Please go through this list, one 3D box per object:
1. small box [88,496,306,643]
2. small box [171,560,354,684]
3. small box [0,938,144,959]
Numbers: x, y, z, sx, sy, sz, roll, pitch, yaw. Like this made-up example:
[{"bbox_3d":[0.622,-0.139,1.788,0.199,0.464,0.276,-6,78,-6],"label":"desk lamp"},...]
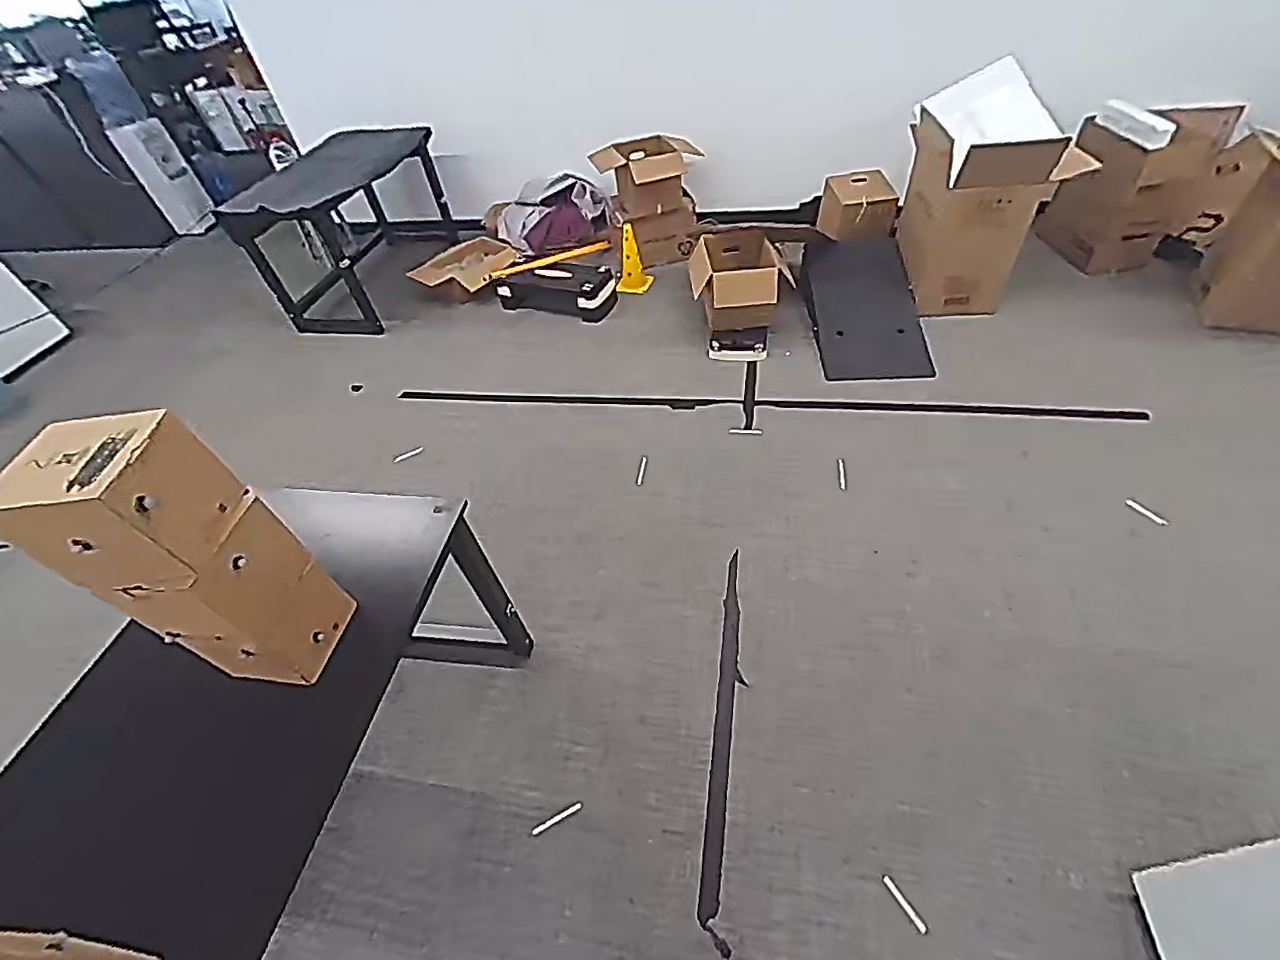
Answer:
[{"bbox_3d":[-0.678,0.144,0.860,0.168,0.176,0.179,0,47,7],"label":"small box"},{"bbox_3d":[-0.669,0.254,0.981,0.179,0.176,0.168,2,48,10],"label":"small box"},{"bbox_3d":[-0.748,0.650,0.627,0.179,0.176,0.168,2,48,9],"label":"small box"}]
